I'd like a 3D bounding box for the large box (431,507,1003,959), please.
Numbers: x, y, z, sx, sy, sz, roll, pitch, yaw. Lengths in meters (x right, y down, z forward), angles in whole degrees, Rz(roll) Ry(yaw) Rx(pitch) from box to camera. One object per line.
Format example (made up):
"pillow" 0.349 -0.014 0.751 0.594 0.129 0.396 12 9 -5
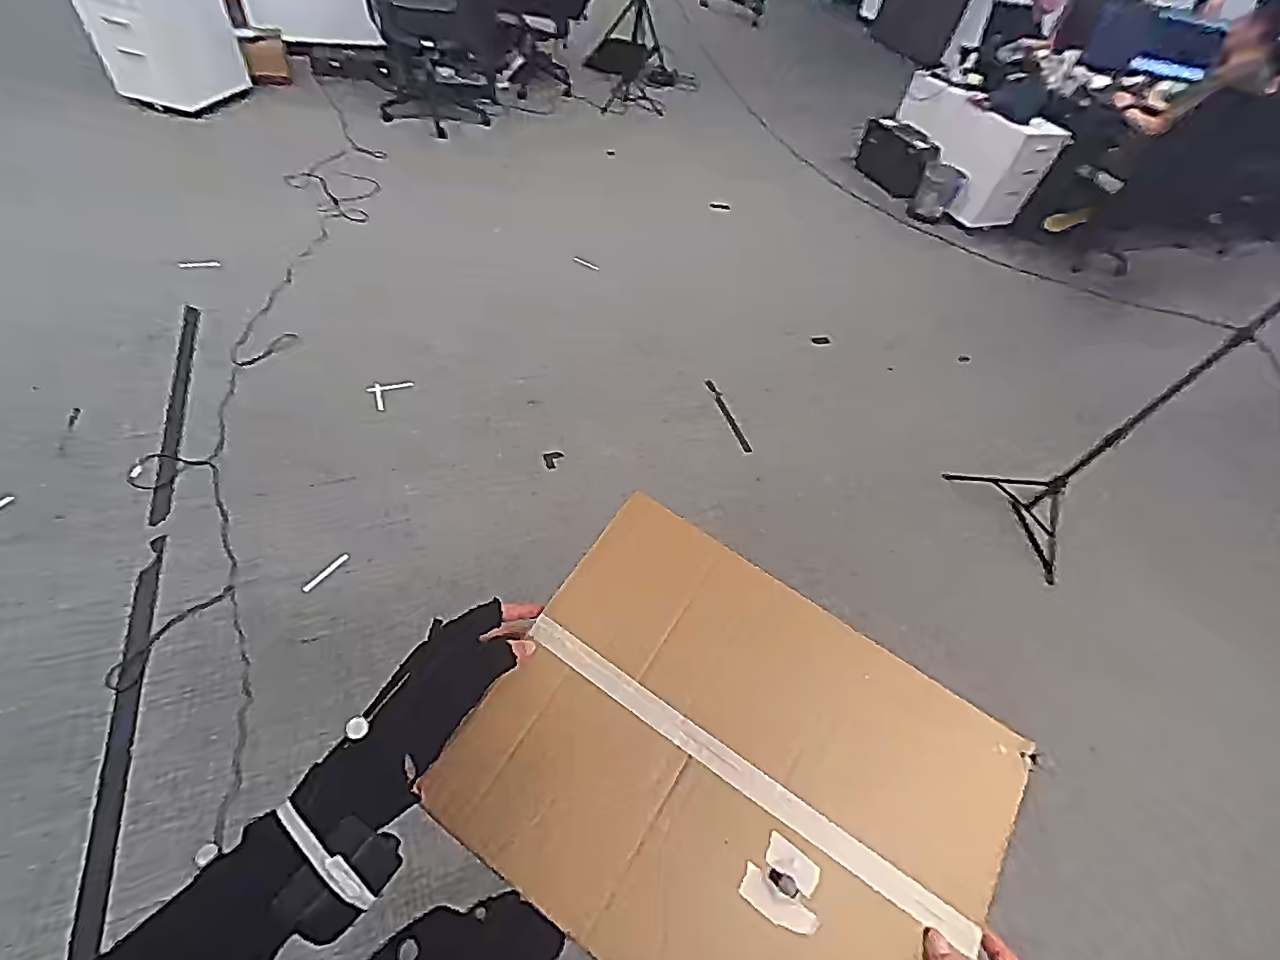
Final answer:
"large box" 0.065 0.300 0.589 0.408 0.320 0.320 32 67 11
